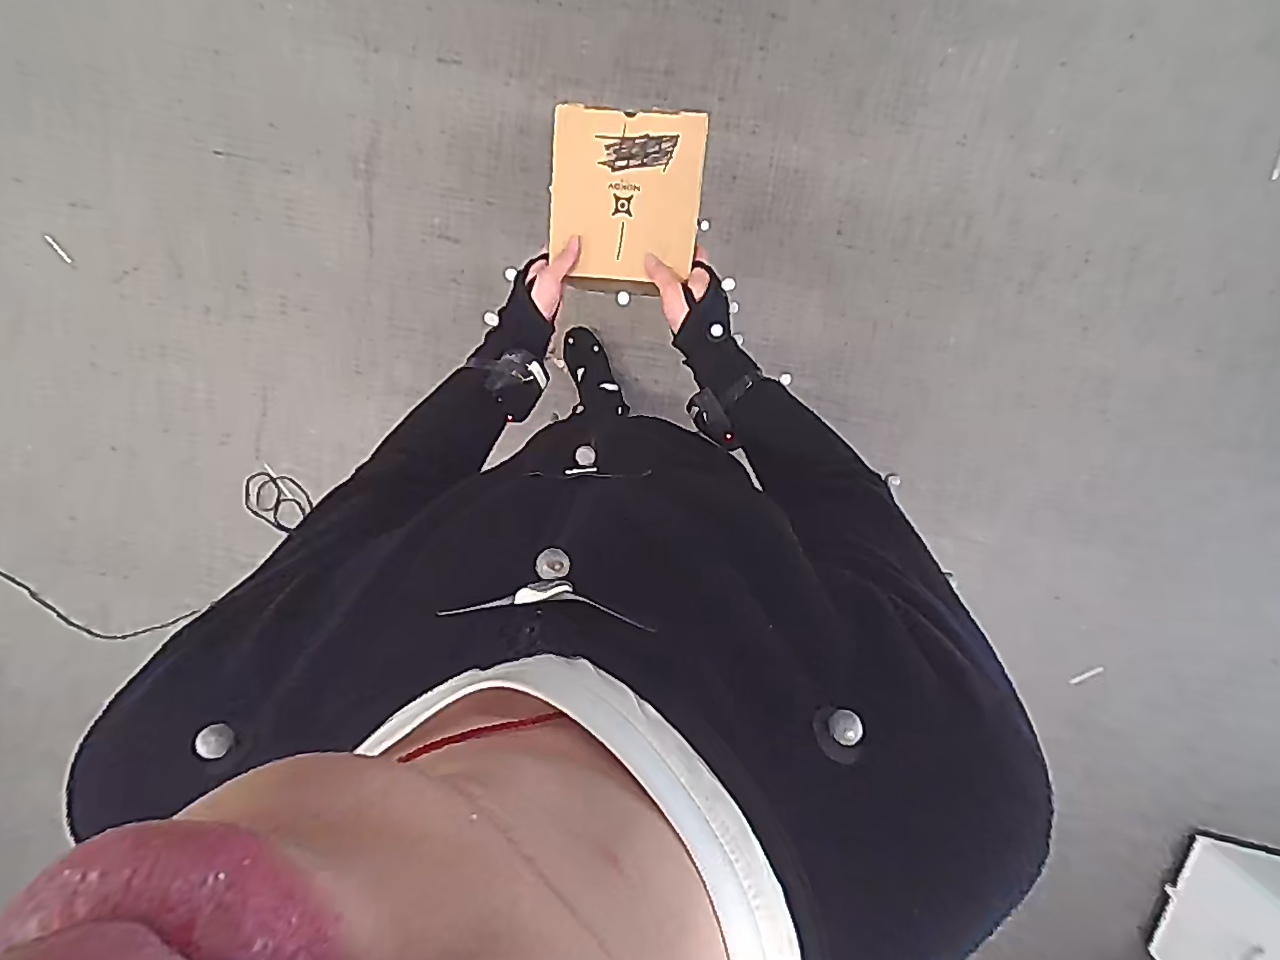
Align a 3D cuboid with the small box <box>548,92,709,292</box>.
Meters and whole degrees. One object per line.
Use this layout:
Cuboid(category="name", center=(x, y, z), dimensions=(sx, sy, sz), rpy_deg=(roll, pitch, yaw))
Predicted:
Cuboid(category="small box", center=(-0.011, -0.340, 0.671), dimensions=(0.168, 0.176, 0.179), rpy_deg=(6, 104, 3))
